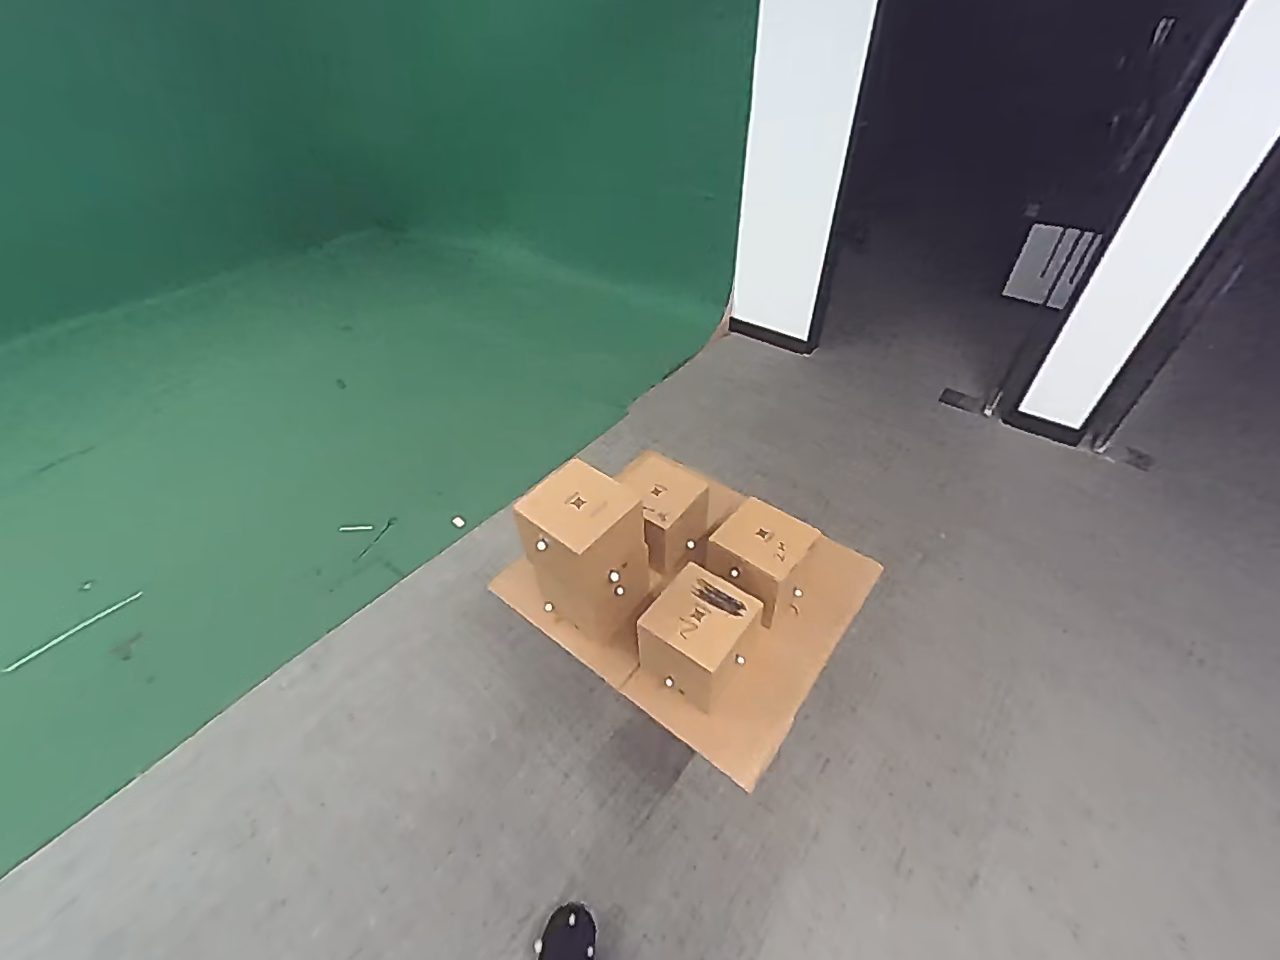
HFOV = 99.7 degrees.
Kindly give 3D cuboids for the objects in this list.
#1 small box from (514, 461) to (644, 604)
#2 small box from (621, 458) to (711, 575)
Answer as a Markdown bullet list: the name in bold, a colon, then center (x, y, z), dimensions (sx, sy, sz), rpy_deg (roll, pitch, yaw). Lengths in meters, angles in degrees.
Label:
- **small box**: center (-0.109, 0.100, 1.023), dimensions (0.179, 0.176, 0.168), rpy_deg (30, 54, 29)
- **small box**: center (0.048, 0.084, 1.266), dimensions (0.168, 0.176, 0.179), rpy_deg (26, 49, 29)
